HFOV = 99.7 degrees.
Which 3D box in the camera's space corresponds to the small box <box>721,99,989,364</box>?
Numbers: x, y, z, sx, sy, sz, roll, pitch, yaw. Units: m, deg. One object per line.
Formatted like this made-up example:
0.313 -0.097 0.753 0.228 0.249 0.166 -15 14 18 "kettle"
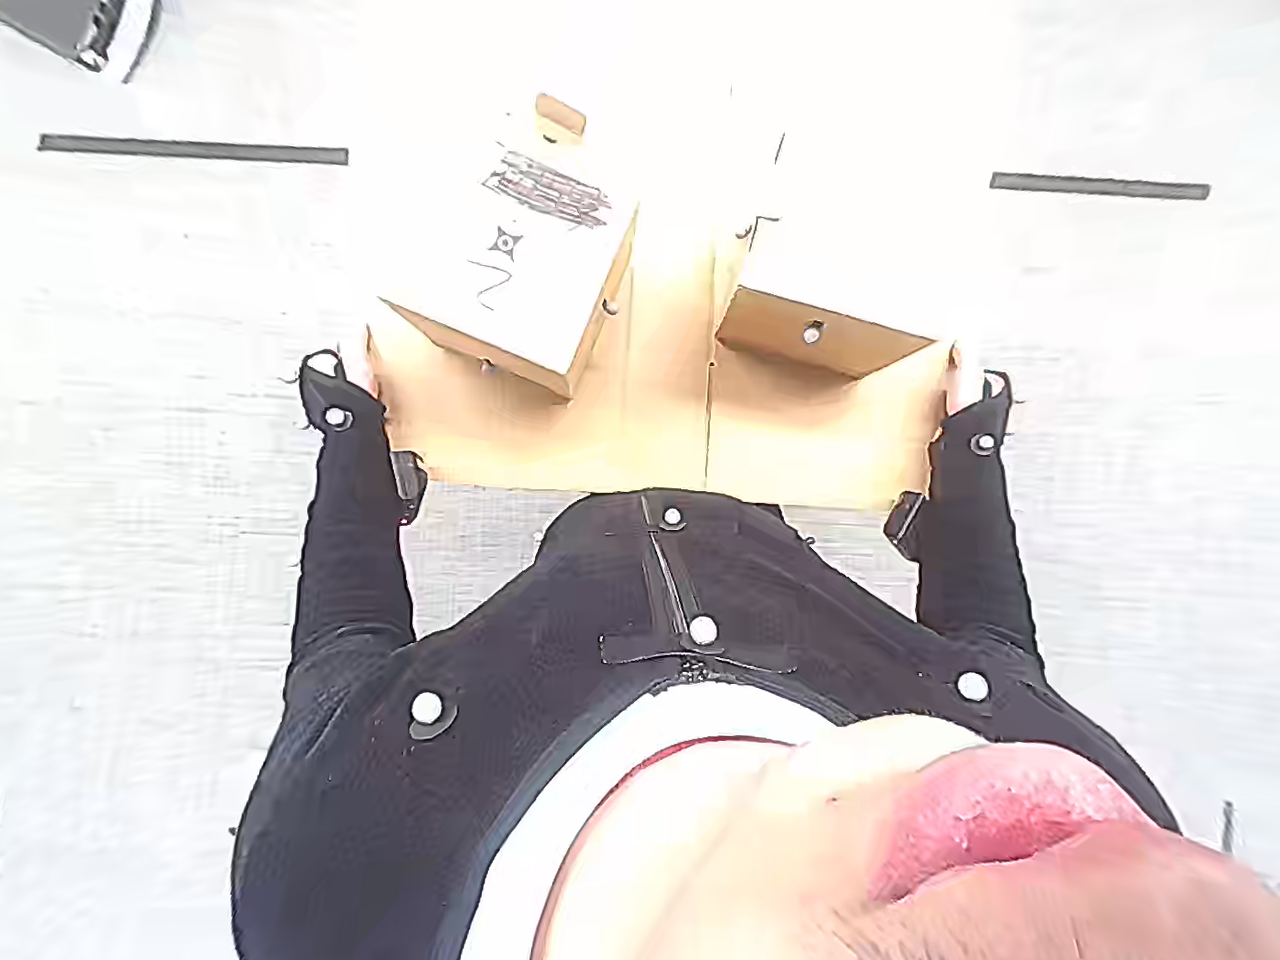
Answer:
0.192 -0.224 0.539 0.179 0.176 0.168 16 91 2 "small box"
